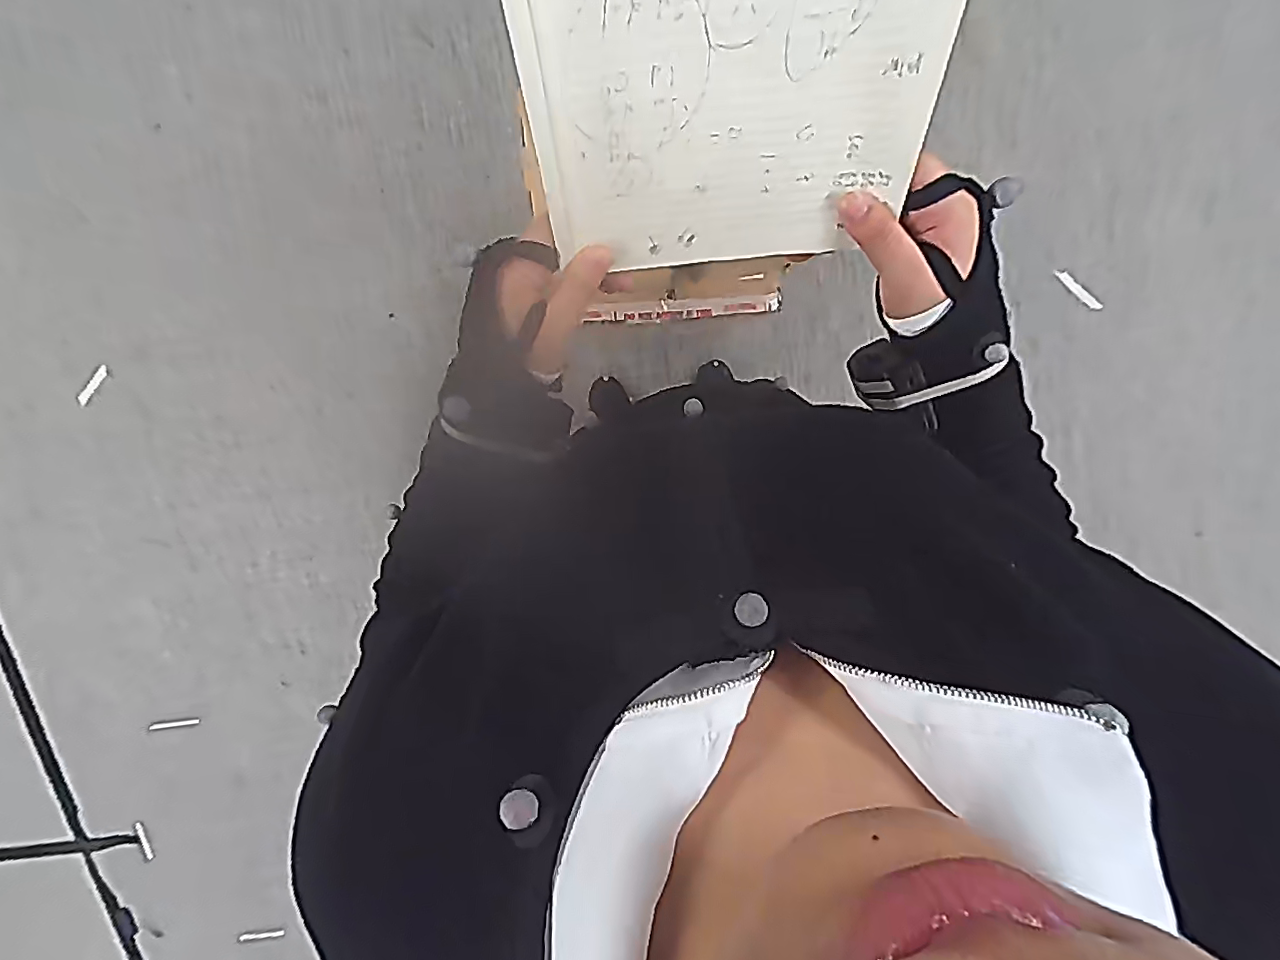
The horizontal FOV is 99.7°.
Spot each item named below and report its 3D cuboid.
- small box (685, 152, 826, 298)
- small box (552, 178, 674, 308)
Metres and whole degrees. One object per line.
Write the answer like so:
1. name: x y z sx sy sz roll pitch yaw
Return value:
1. small box: 0.177 -0.393 0.859 0.179 0.176 0.168 -9 103 0
2. small box: -0.039 -0.368 0.862 0.179 0.176 0.168 0 103 1
